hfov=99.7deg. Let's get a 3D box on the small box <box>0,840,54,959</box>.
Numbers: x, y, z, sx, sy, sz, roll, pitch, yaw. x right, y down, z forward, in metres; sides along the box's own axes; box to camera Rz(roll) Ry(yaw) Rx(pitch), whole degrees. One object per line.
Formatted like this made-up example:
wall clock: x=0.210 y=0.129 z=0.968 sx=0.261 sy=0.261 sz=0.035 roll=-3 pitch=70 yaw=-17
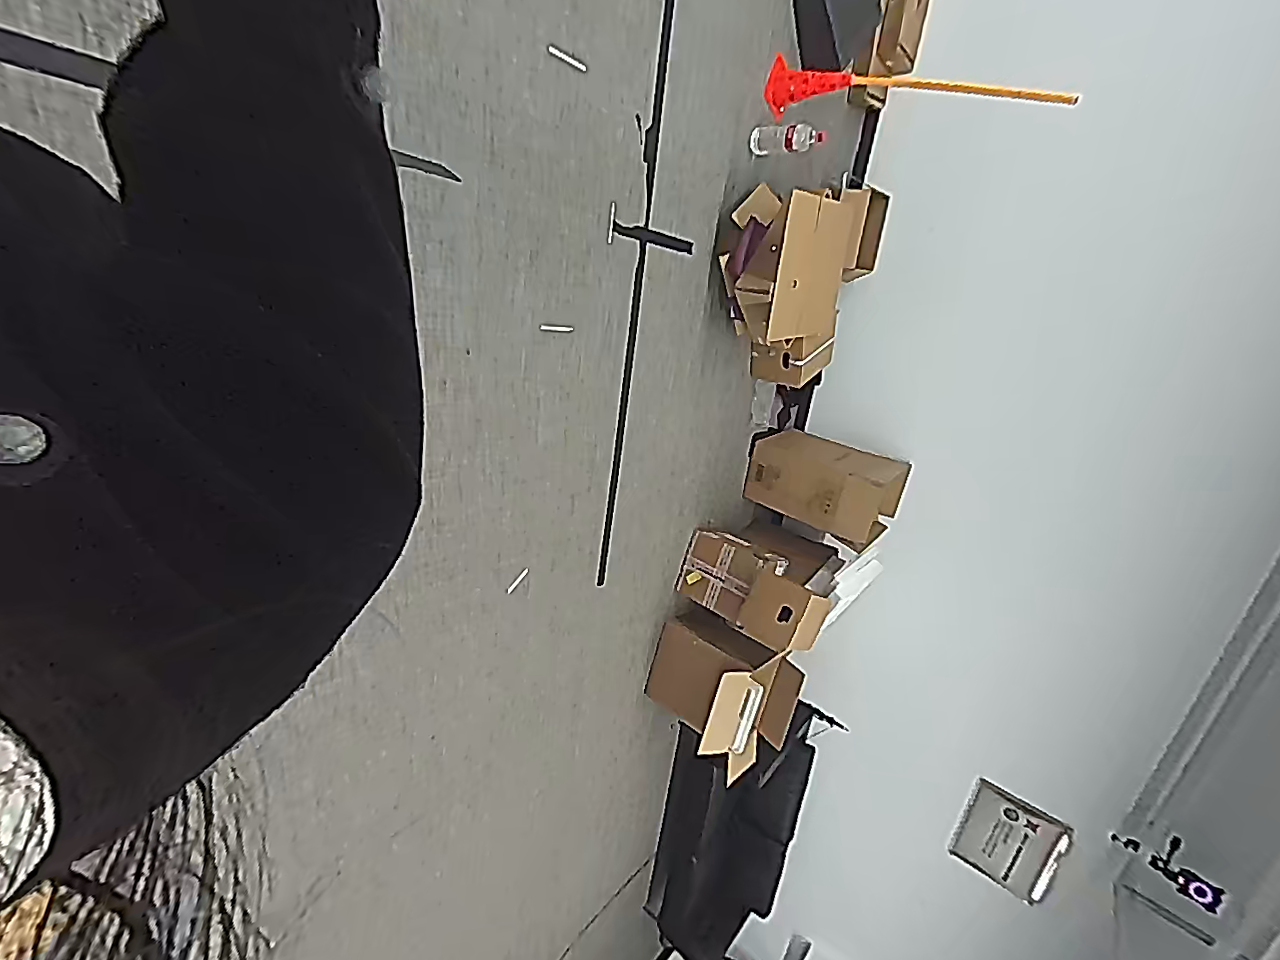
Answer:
small box: x=-1.401 y=0.935 z=1.160 sx=0.179 sy=0.176 sz=0.168 roll=-8 pitch=114 yaw=-52
